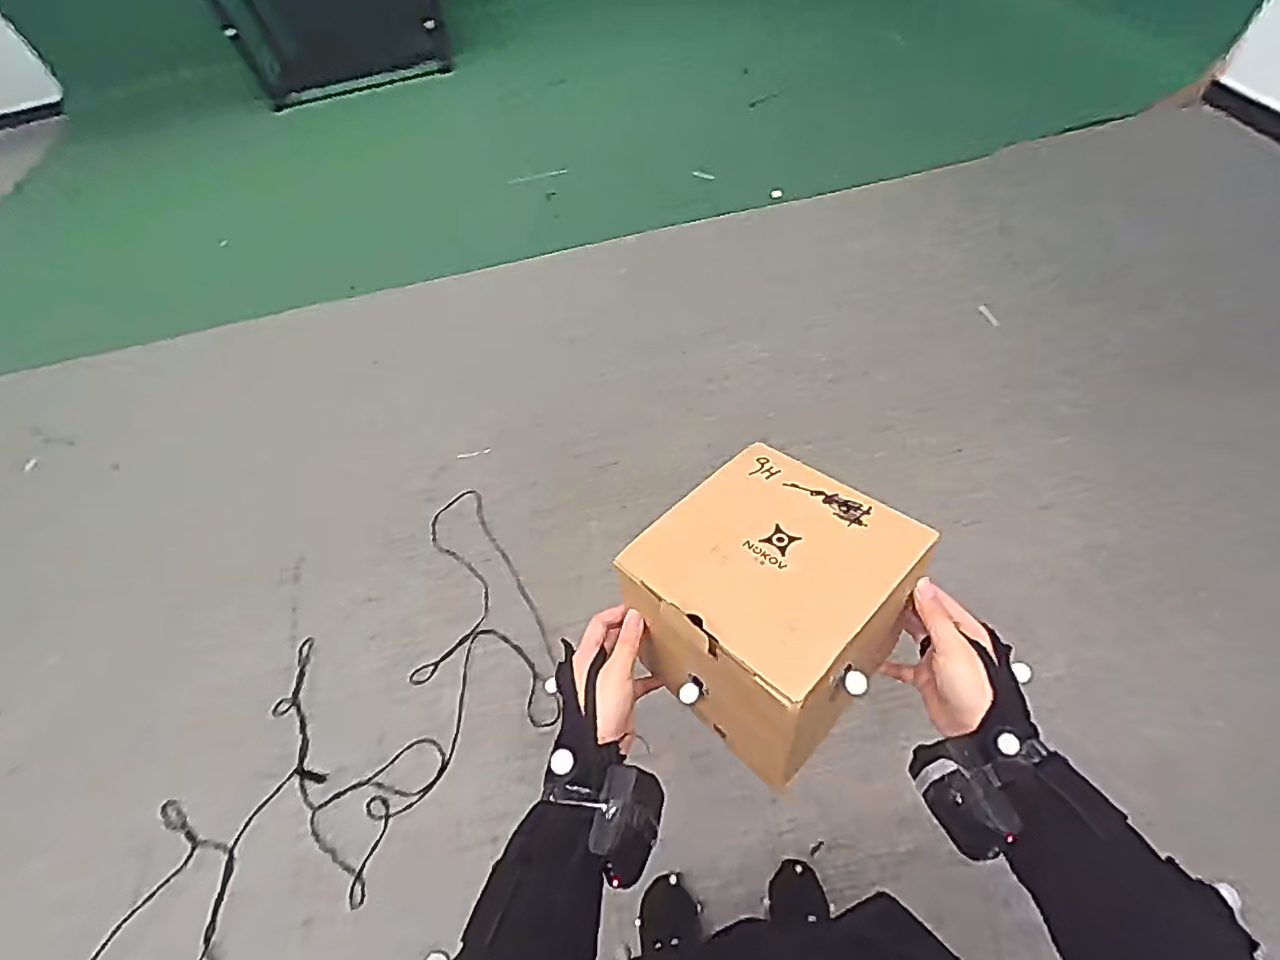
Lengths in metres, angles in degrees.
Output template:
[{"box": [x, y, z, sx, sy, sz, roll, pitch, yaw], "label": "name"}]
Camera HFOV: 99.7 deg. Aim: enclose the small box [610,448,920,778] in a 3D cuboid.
[{"box": [0.103, 0.111, 0.460, 0.179, 0.176, 0.168, -38, 50, -25], "label": "small box"}]
